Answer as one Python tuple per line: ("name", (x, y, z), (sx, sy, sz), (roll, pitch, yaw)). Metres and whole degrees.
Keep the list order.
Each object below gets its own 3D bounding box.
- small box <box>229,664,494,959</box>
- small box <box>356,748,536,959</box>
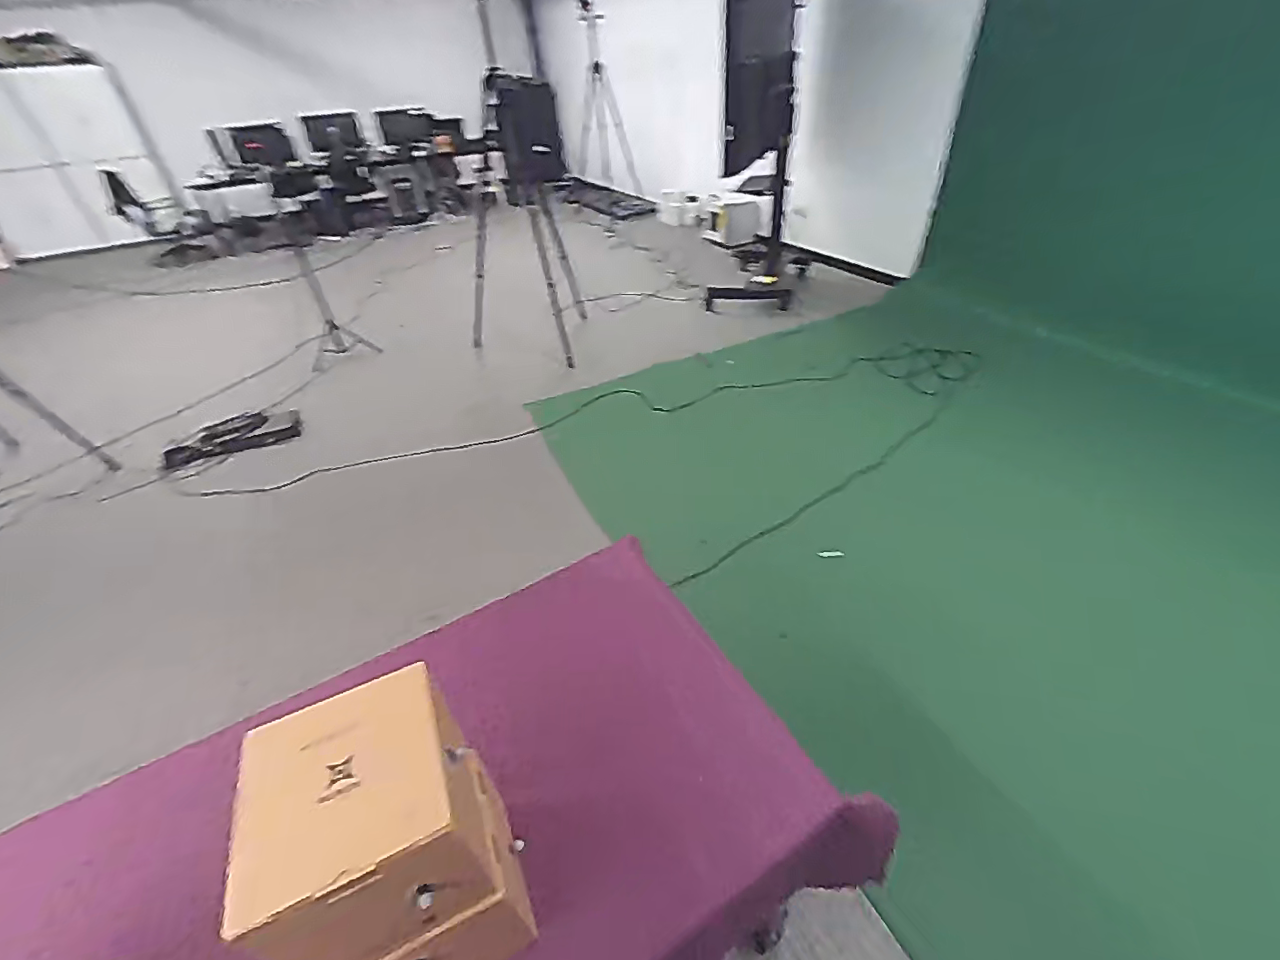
("small box", (-0.256, 0.325, 0.528), (0.168, 0.176, 0.179), (-19, 39, -17))
("small box", (-0.237, 0.457, 0.621), (0.179, 0.176, 0.168), (-20, 40, -17))
